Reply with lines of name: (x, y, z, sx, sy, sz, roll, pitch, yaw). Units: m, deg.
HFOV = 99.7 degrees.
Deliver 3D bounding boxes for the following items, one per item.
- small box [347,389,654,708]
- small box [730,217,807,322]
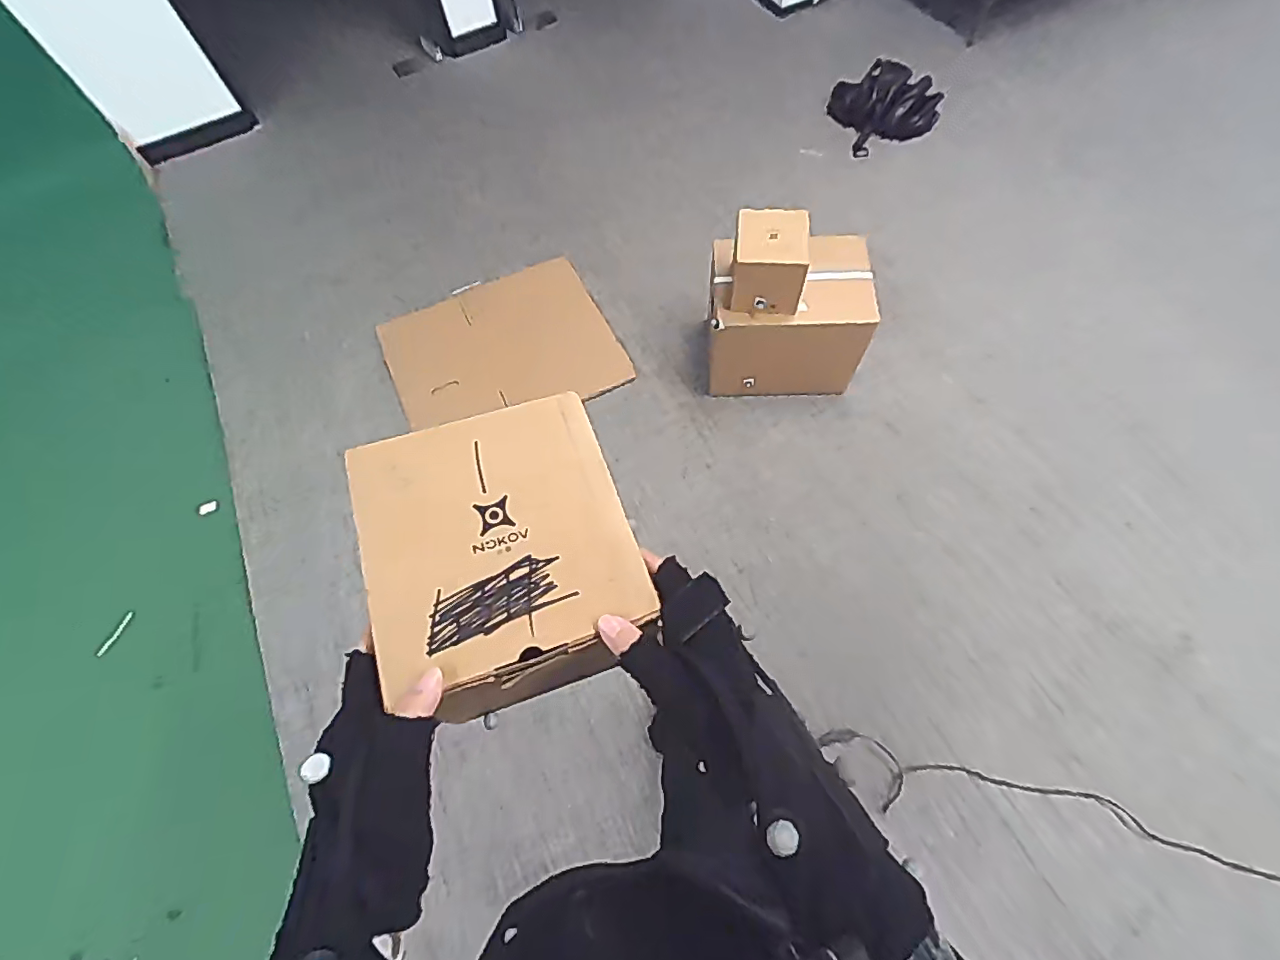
small box: (-0.099, 0.064, 0.430, 0.168, 0.176, 0.179, -20, 67, -12)
small box: (0.313, -0.519, 1.338, 0.168, 0.176, 0.179, 3, 66, 6)
